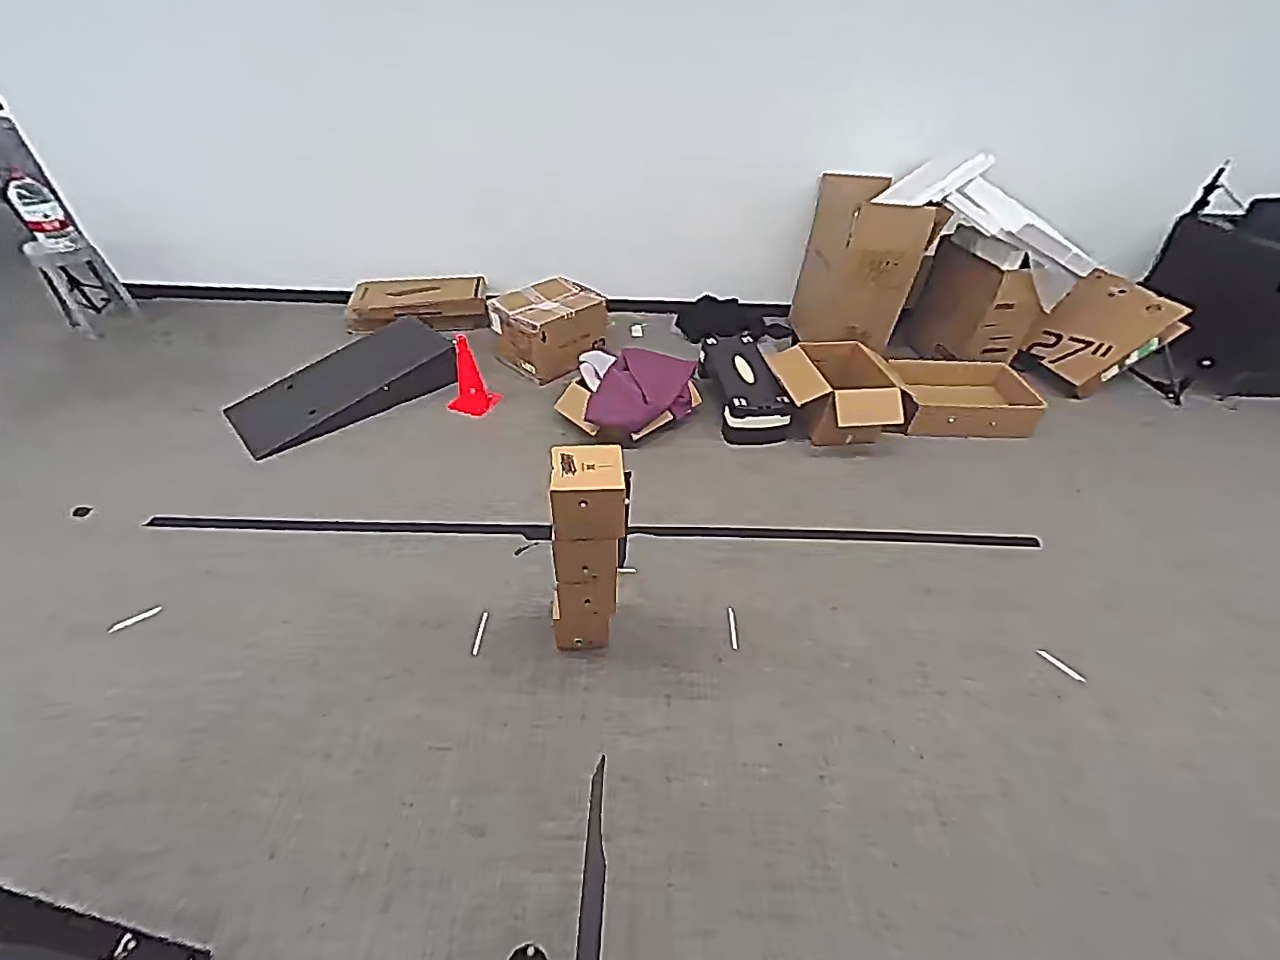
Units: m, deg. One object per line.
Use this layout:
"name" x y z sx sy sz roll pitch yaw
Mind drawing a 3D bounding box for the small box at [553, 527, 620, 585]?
"small box" -0.138 0.163 1.462 0.168 0.176 0.179 -1 42 -1

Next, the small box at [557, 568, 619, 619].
"small box" -0.150 0.290 1.568 0.168 0.176 0.179 -4 42 -5

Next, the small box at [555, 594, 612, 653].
"small box" -0.173 0.411 1.677 0.168 0.176 0.179 -3 43 -4

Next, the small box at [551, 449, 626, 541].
"small box" -0.126 0.040 1.354 0.179 0.176 0.168 -2 41 -5
